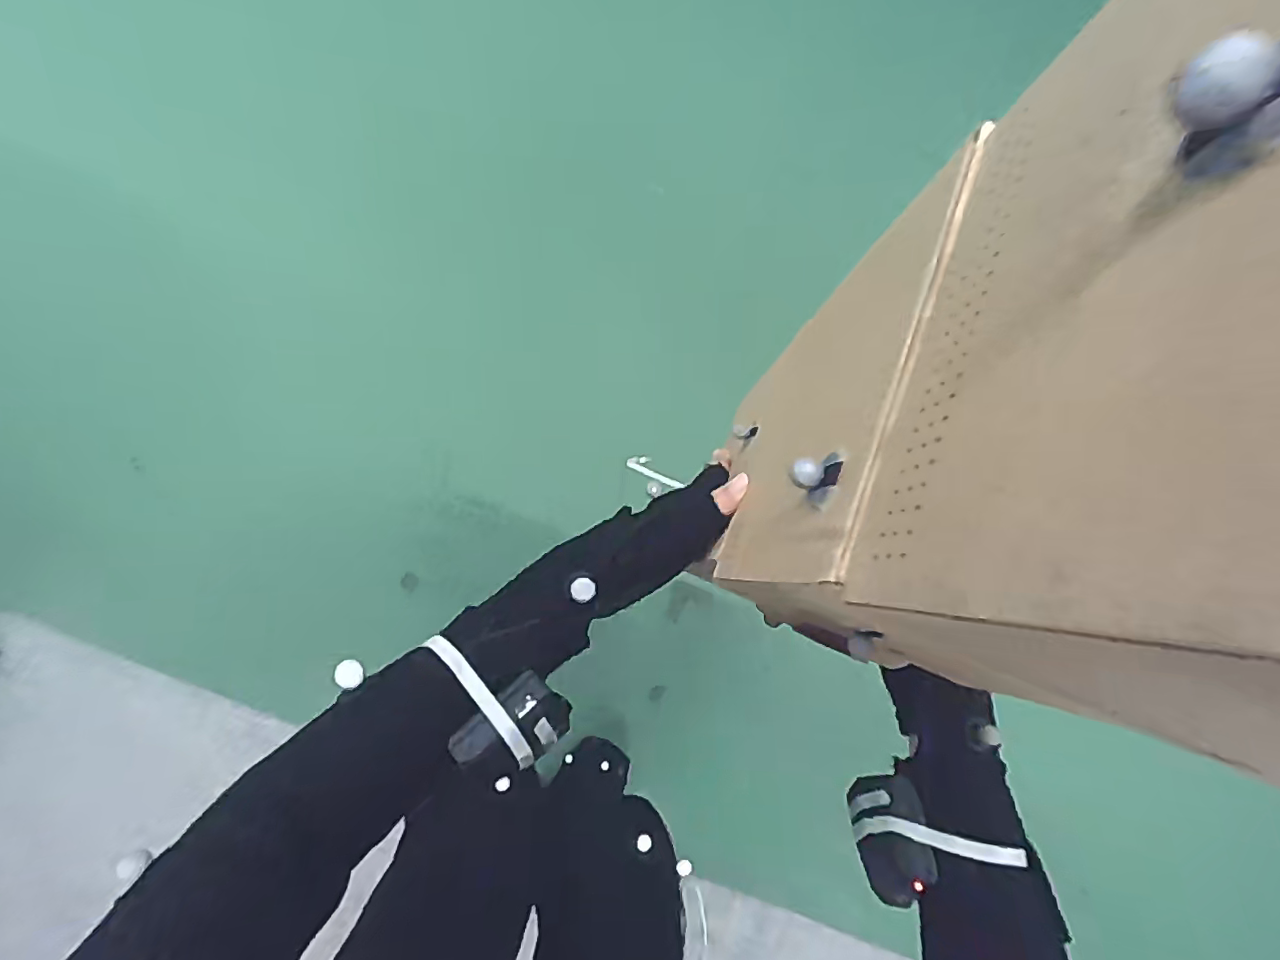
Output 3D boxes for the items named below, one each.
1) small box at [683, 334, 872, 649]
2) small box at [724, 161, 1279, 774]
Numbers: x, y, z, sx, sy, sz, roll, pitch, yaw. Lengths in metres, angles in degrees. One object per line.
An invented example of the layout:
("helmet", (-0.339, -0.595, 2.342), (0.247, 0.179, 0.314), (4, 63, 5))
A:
("small box", (0.145, 0.021, 0.430), (0.168, 0.176, 0.179), (24, 80, -1))
("small box", (0.156, 0.001, 0.268), (0.168, 0.176, 0.179), (21, 80, -1))
